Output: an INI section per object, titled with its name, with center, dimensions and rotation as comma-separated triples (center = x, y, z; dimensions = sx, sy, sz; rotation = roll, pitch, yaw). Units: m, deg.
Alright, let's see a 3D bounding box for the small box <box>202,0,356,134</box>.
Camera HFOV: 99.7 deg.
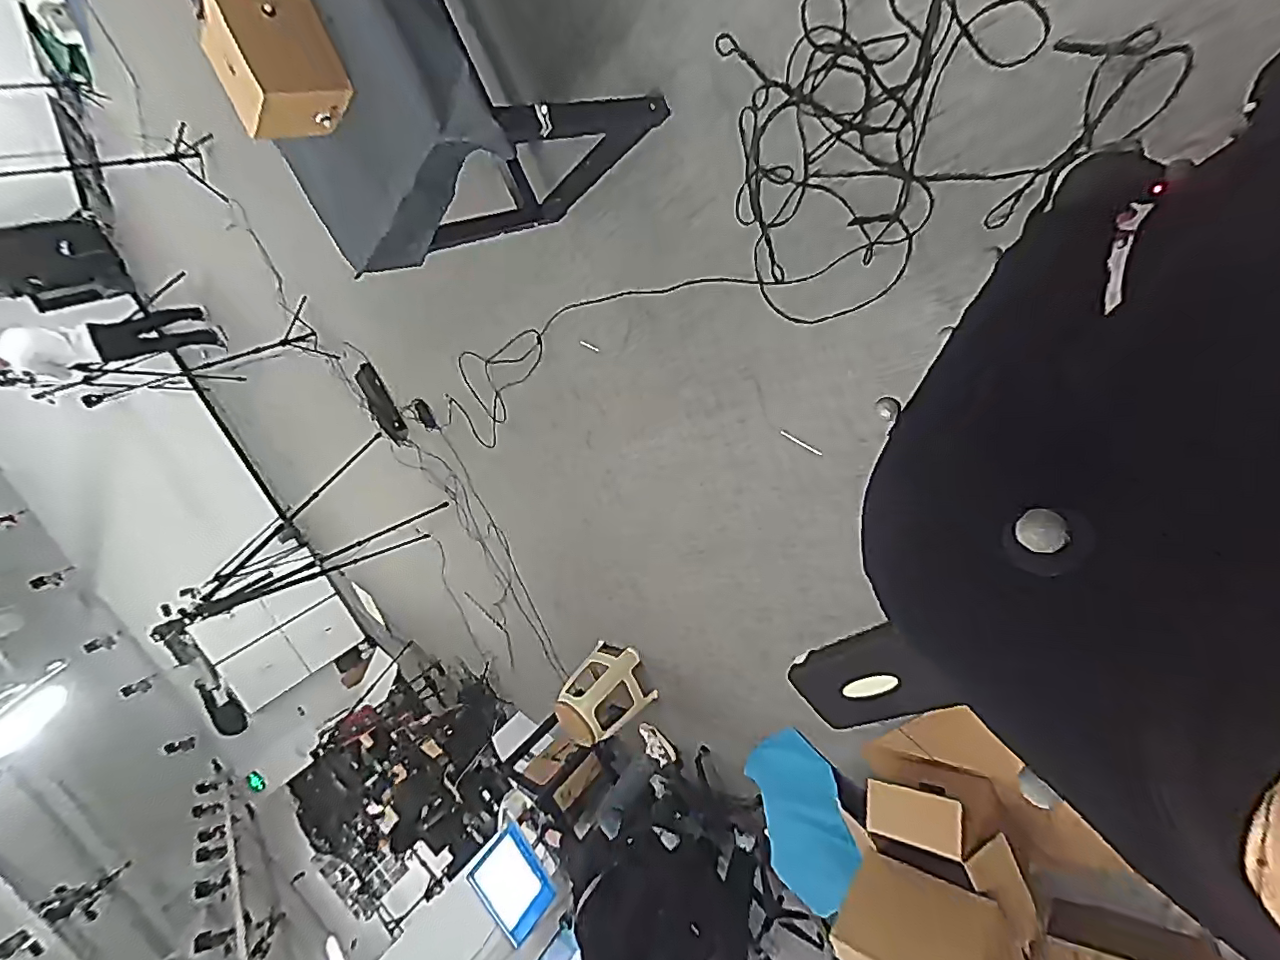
[small box]
center = -0.673, -0.787, 1.015
dimensions = 0.168, 0.176, 0.179
rotation = -3, 117, 49
